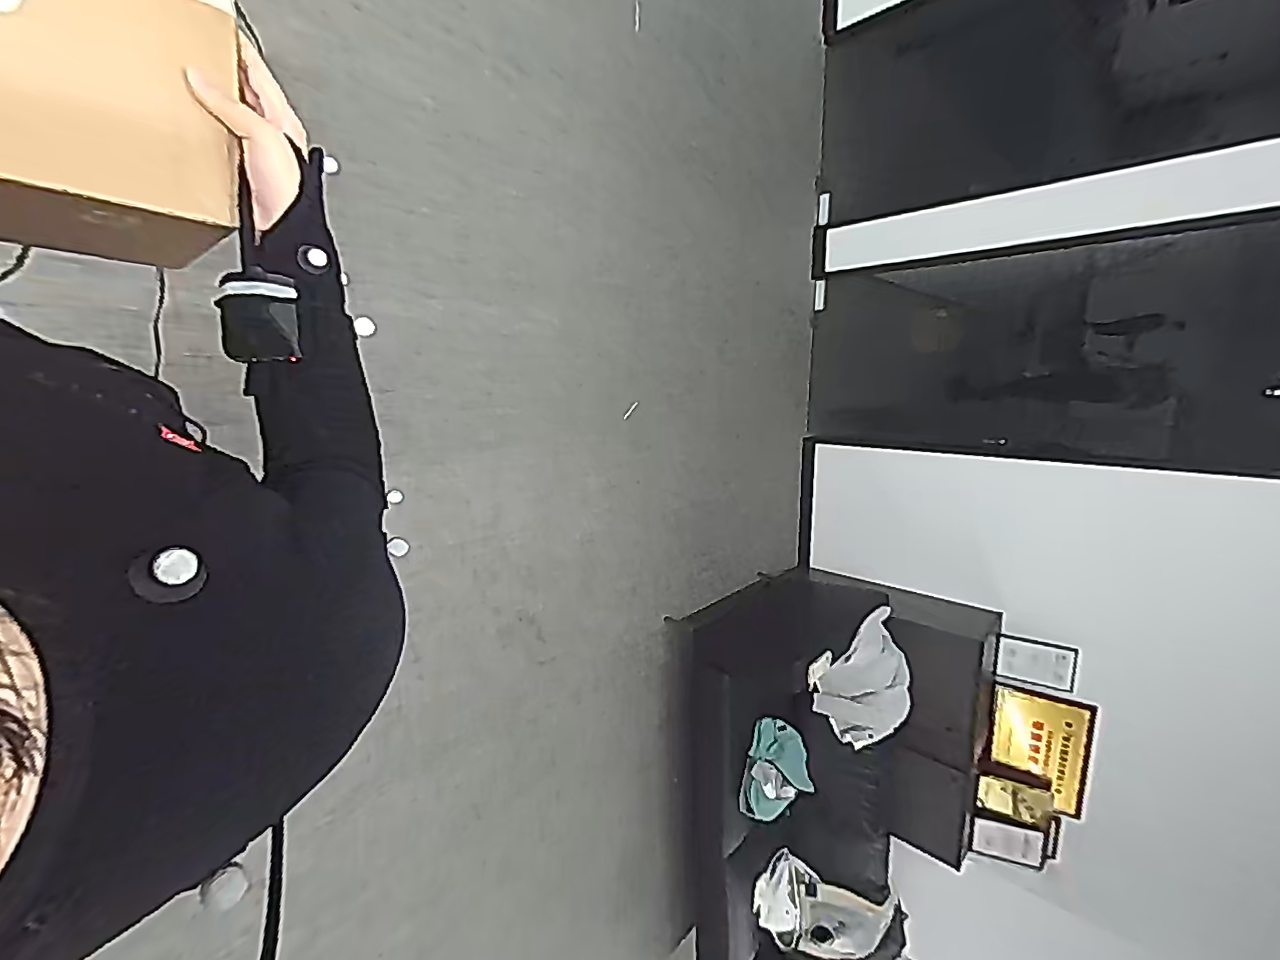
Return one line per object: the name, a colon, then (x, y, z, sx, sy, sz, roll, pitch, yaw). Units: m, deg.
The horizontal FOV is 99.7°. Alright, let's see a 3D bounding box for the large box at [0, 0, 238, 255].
large box: (-0.551, -0.363, 0.350, 0.408, 0.320, 0.320, -7, 105, -48)
